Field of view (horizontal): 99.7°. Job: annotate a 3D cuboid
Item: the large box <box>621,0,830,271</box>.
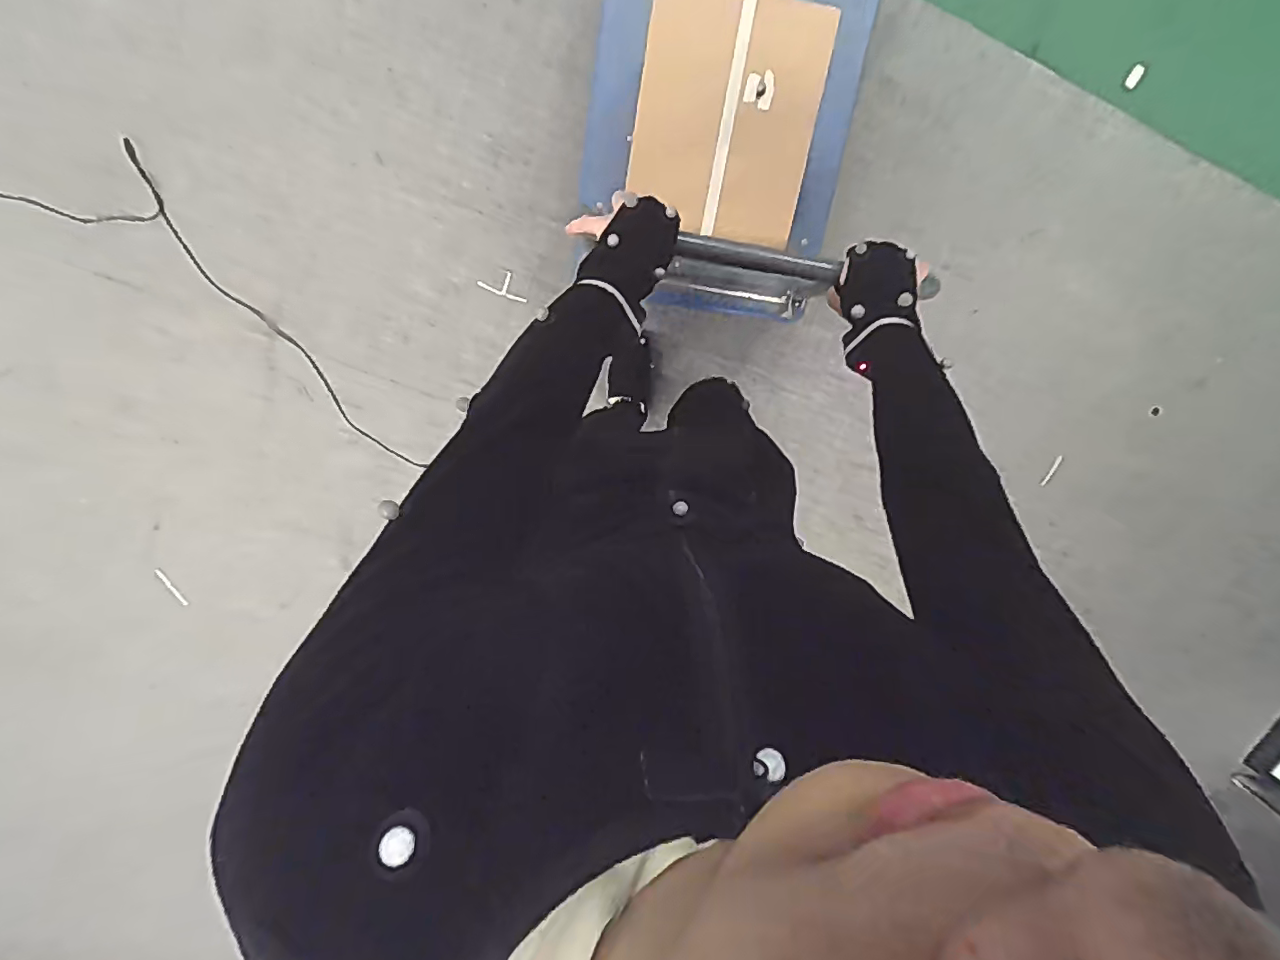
[{"bbox_3d":[0.142,-0.669,1.101,0.320,0.320,0.408,9,106,-5],"label":"large box"}]
